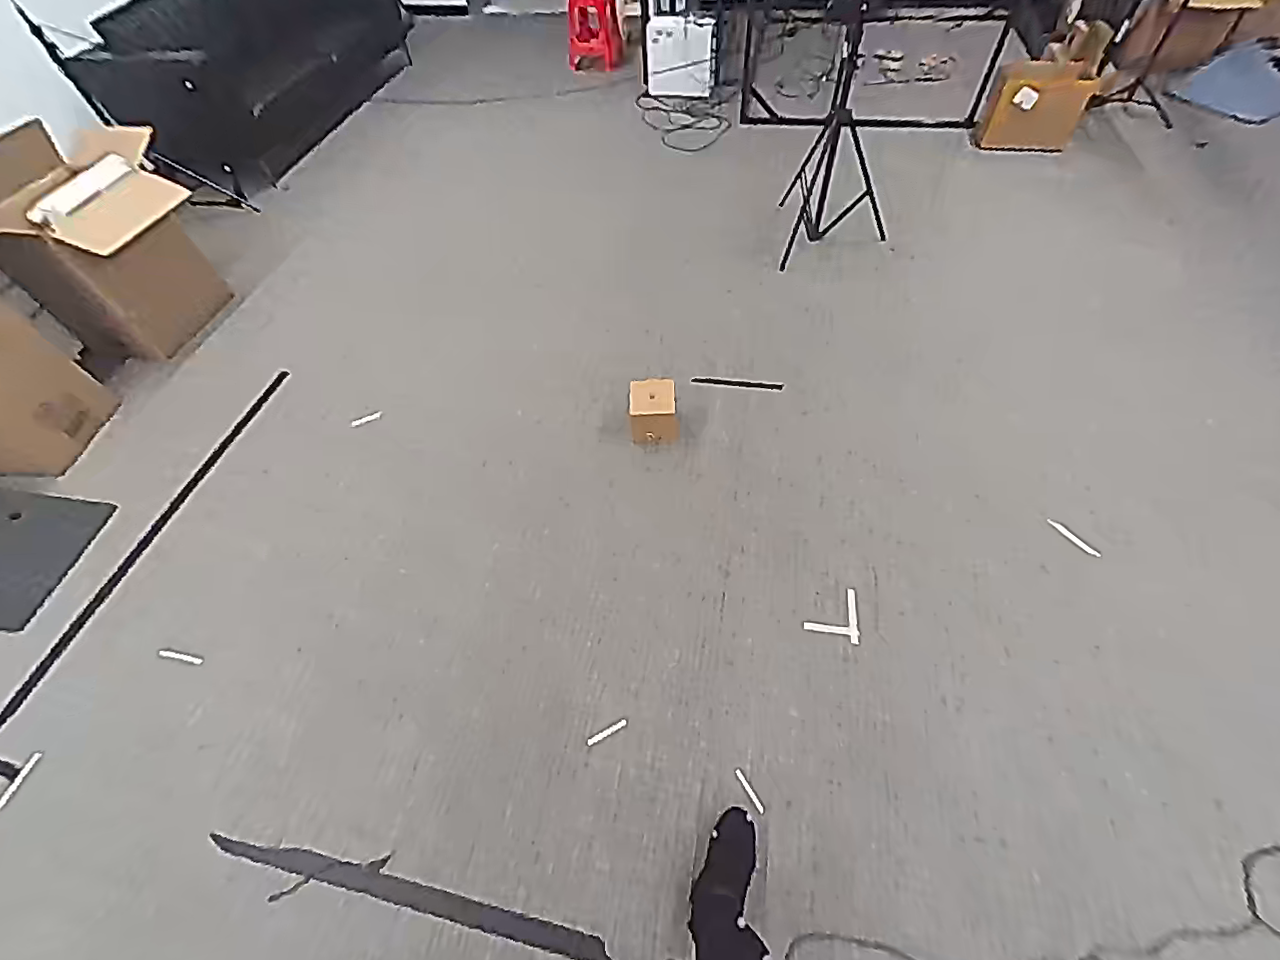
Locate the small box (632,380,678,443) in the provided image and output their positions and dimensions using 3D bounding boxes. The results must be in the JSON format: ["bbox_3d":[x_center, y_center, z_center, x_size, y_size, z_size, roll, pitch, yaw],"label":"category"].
[{"bbox_3d":[0.059,-0.257,2.042,0.168,0.176,0.179,-2,54,4],"label":"small box"}]
